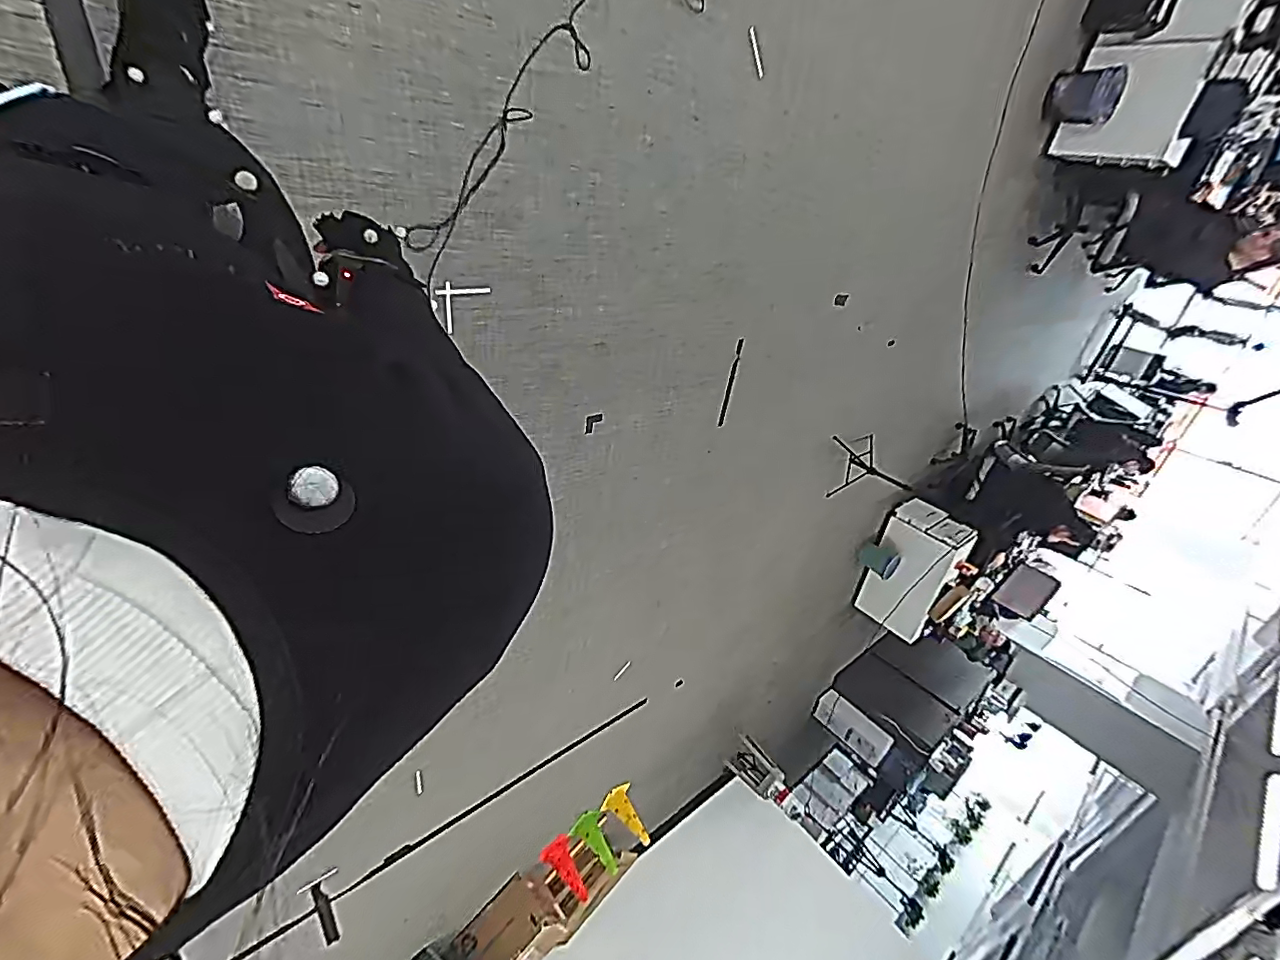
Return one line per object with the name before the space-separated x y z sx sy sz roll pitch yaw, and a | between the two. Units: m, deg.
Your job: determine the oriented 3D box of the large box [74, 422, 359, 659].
large box | -0.916 0.108 1.209 0.408 0.320 0.320 -21 129 -33
